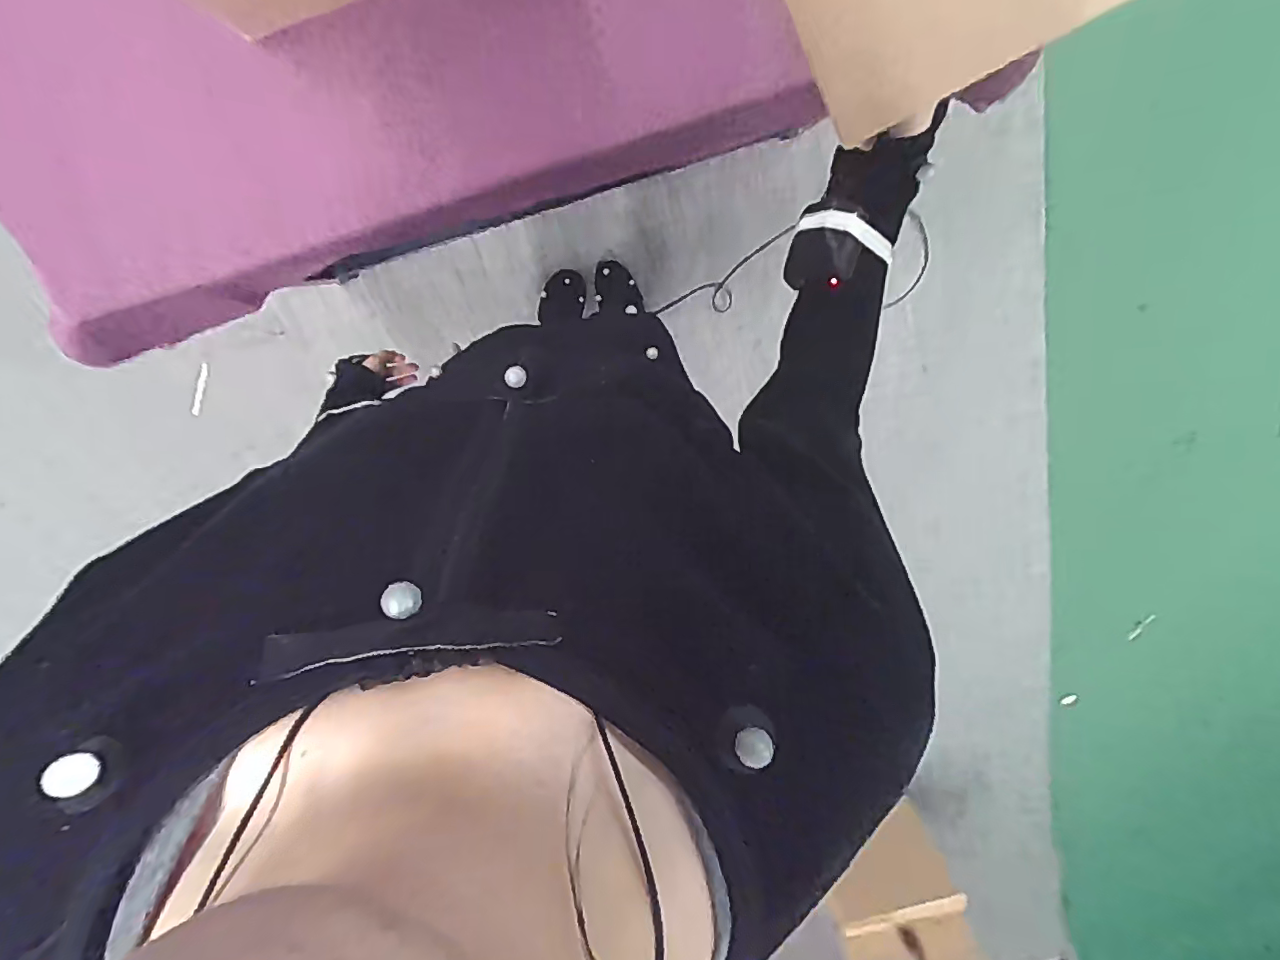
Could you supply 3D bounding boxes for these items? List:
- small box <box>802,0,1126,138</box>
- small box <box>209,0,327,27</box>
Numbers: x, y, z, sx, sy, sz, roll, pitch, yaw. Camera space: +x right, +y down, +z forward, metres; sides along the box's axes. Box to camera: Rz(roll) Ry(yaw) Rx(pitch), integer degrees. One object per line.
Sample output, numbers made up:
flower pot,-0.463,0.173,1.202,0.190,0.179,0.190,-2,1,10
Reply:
small box,0.171,-0.317,0.252,0.176,0.168,0.179,50,57,-28
small box,-0.349,-0.534,0.456,0.179,0.176,0.168,-20,112,2
